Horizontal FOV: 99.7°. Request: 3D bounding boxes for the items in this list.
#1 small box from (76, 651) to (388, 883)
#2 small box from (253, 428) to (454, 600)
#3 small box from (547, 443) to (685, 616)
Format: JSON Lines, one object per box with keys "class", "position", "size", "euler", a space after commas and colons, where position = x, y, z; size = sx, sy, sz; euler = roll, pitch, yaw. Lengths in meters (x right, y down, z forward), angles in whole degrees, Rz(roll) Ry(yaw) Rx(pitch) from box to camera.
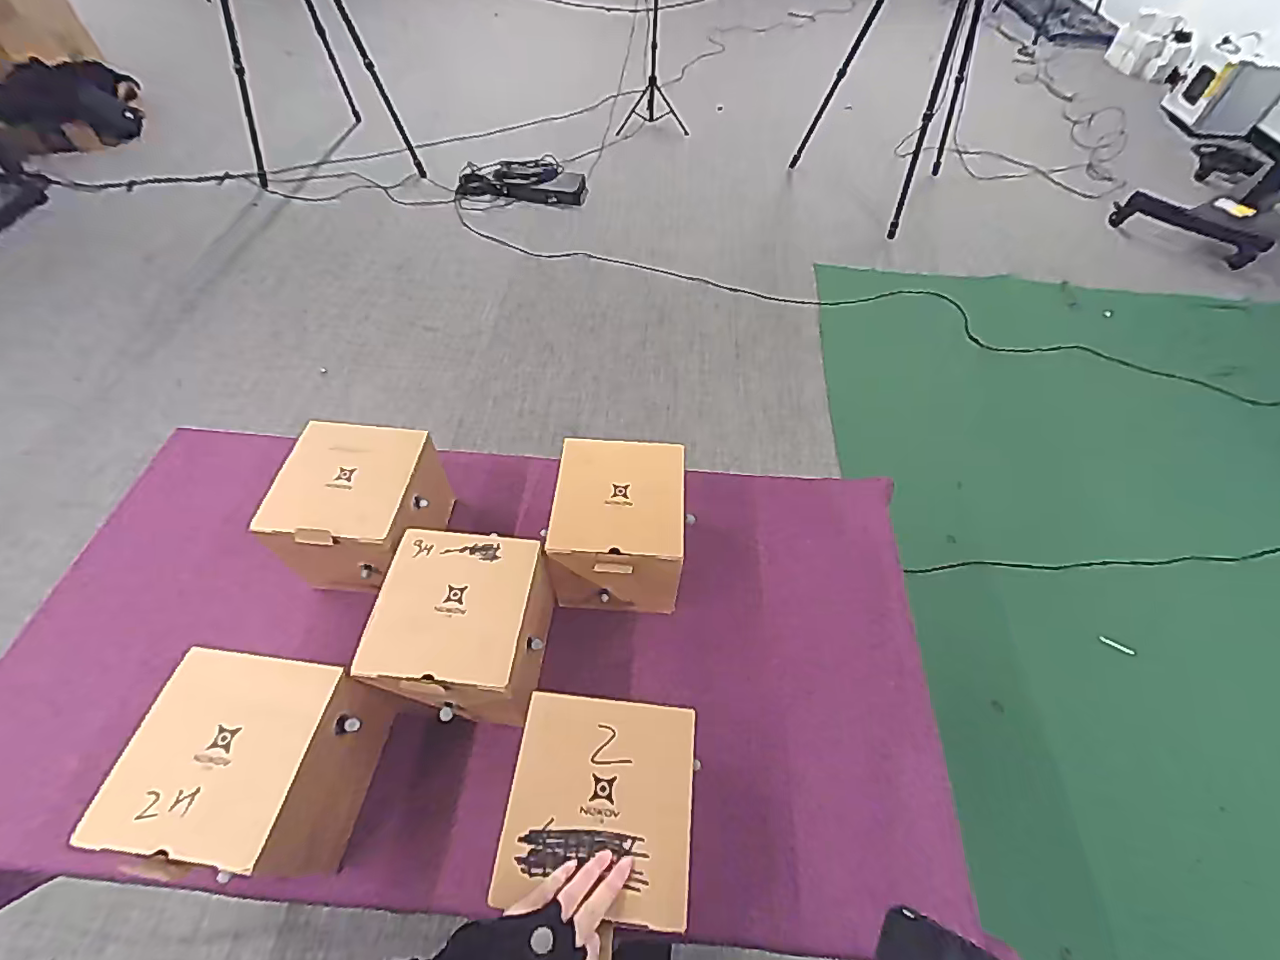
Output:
{"class": "small box", "position": [-0.392, 0.303, 0.568], "size": [0.168, 0.176, 0.179], "euler": [7, 53, 4]}
{"class": "small box", "position": [-0.377, 0.053, 0.755], "size": [0.168, 0.176, 0.179], "euler": [5, 54, 1]}
{"class": "small box", "position": [-0.028, 0.071, 0.752], "size": [0.168, 0.176, 0.179], "euler": [3, 55, 1]}
